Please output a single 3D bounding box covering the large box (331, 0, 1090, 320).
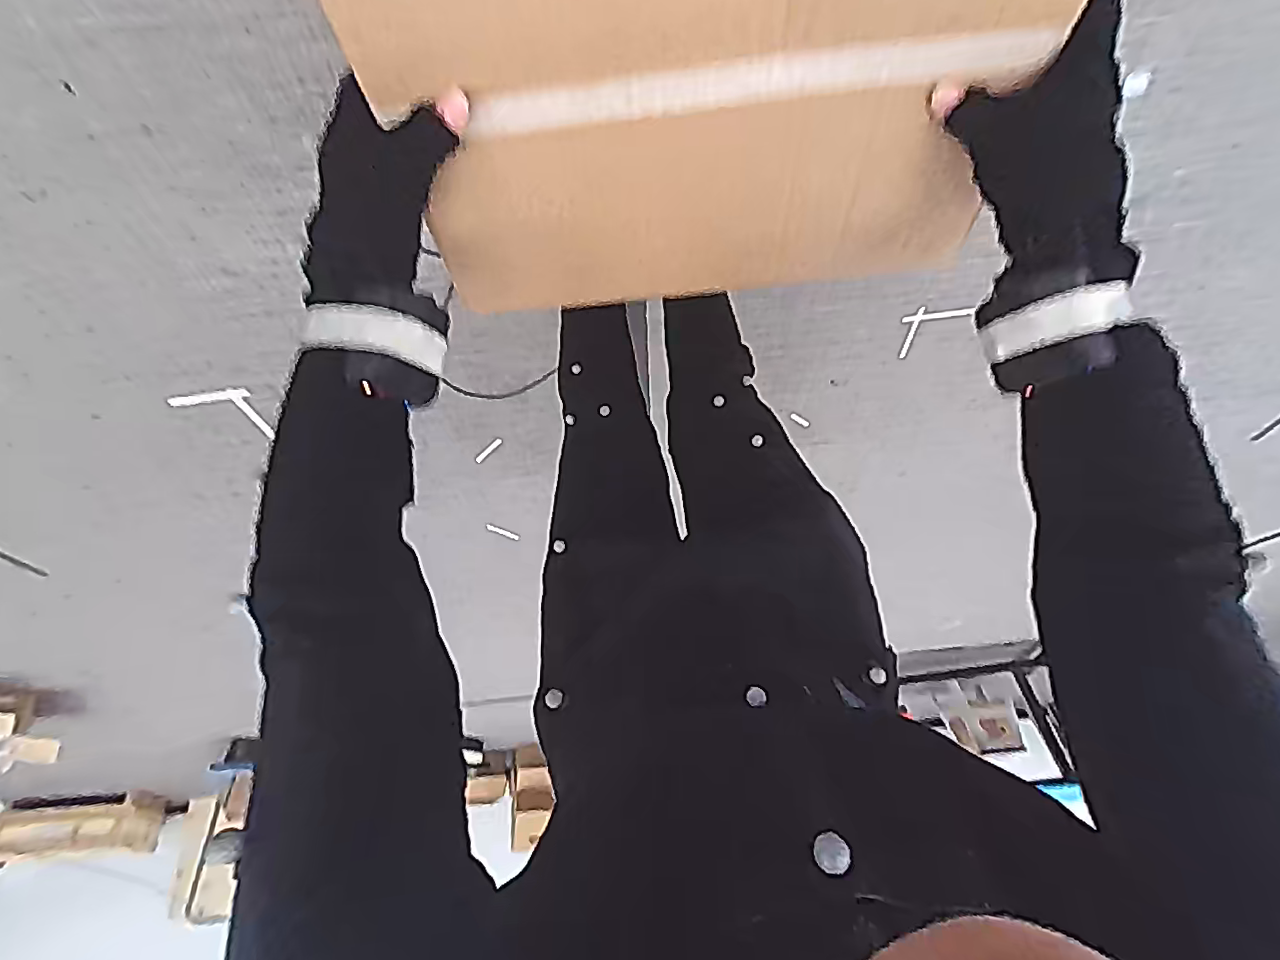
[{"bbox_3d":[0.035,-0.358,0.396,0.408,0.320,0.320,-5,153,1],"label":"large box"}]
